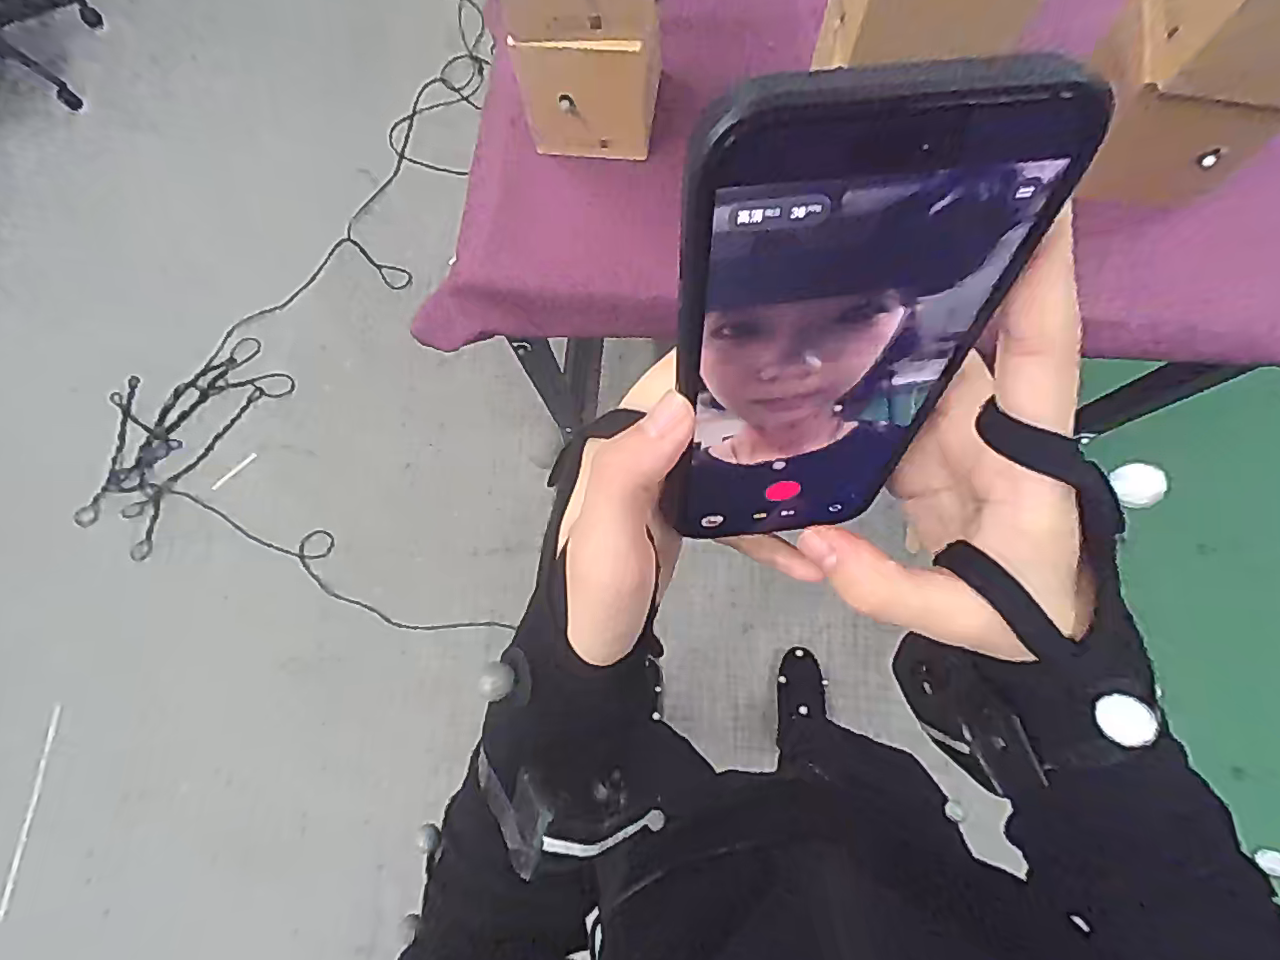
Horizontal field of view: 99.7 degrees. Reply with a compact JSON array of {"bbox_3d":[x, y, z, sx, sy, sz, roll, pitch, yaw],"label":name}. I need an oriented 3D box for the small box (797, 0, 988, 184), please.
[{"bbox_3d":[0.318,-0.519,0.707,0.179,0.176,0.168,6,77,5],"label":"small box"}]

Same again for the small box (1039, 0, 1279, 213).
[{"bbox_3d":[0.652,-0.468,0.678,0.179,0.176,0.168,12,77,6],"label":"small box"}]

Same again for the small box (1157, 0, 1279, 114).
[{"bbox_3d":[0.651,-0.491,0.516,0.179,0.176,0.168,12,77,5],"label":"small box"}]

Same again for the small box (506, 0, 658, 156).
[{"bbox_3d":[-0.067,-0.582,0.743,0.168,0.176,0.179,7,77,5],"label":"small box"}]

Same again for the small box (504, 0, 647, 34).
[{"bbox_3d":[-0.074,-0.629,0.586,0.168,0.176,0.179,2,77,3],"label":"small box"}]
